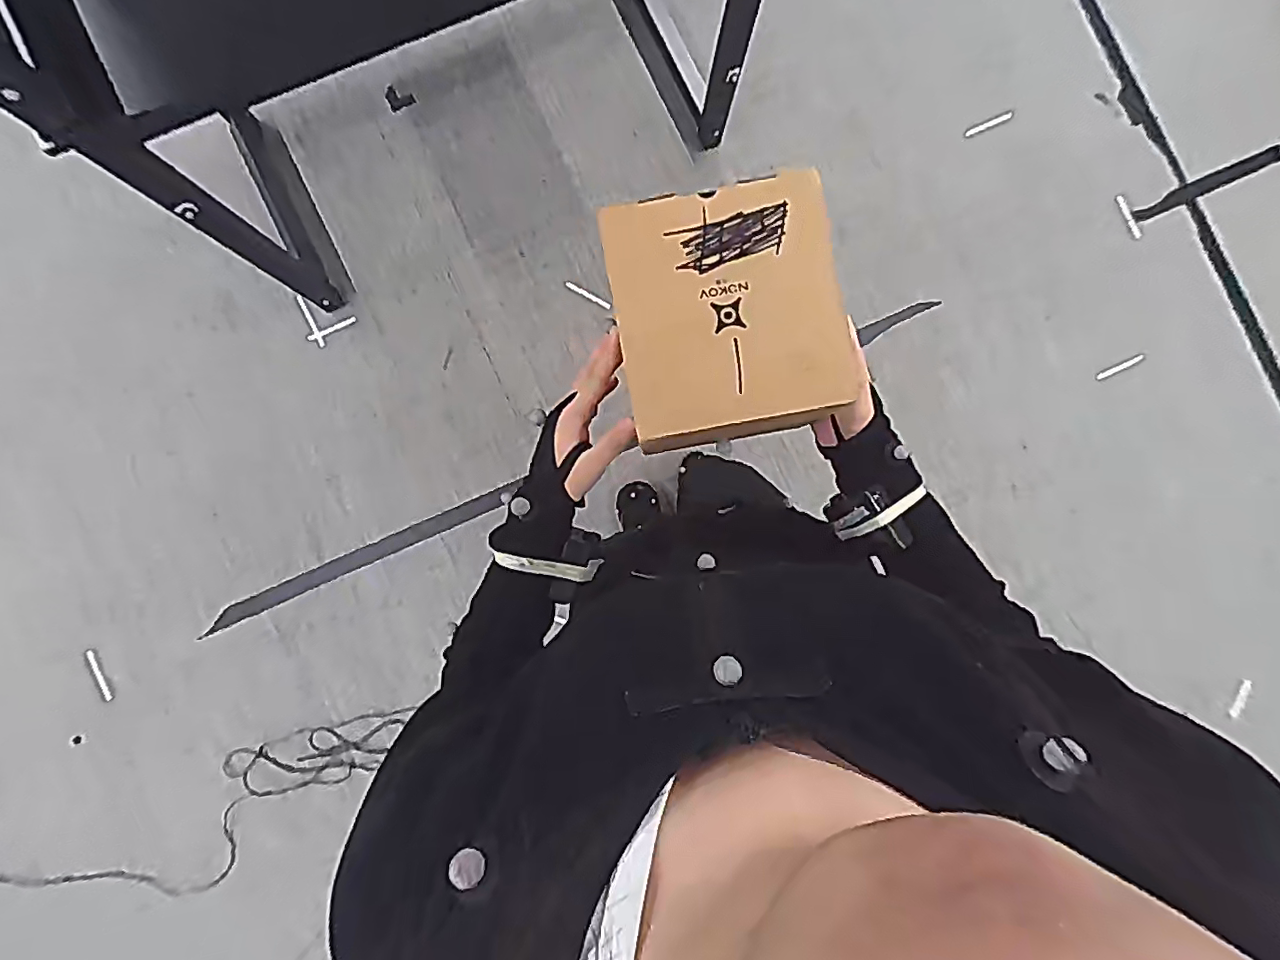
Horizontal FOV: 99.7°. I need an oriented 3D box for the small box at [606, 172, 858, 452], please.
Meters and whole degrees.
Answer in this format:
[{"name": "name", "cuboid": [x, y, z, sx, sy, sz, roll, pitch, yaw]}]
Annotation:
[{"name": "small box", "cuboid": [0.068, -0.128, 0.478, 0.168, 0.176, 0.179, -10, 89, 2]}]
